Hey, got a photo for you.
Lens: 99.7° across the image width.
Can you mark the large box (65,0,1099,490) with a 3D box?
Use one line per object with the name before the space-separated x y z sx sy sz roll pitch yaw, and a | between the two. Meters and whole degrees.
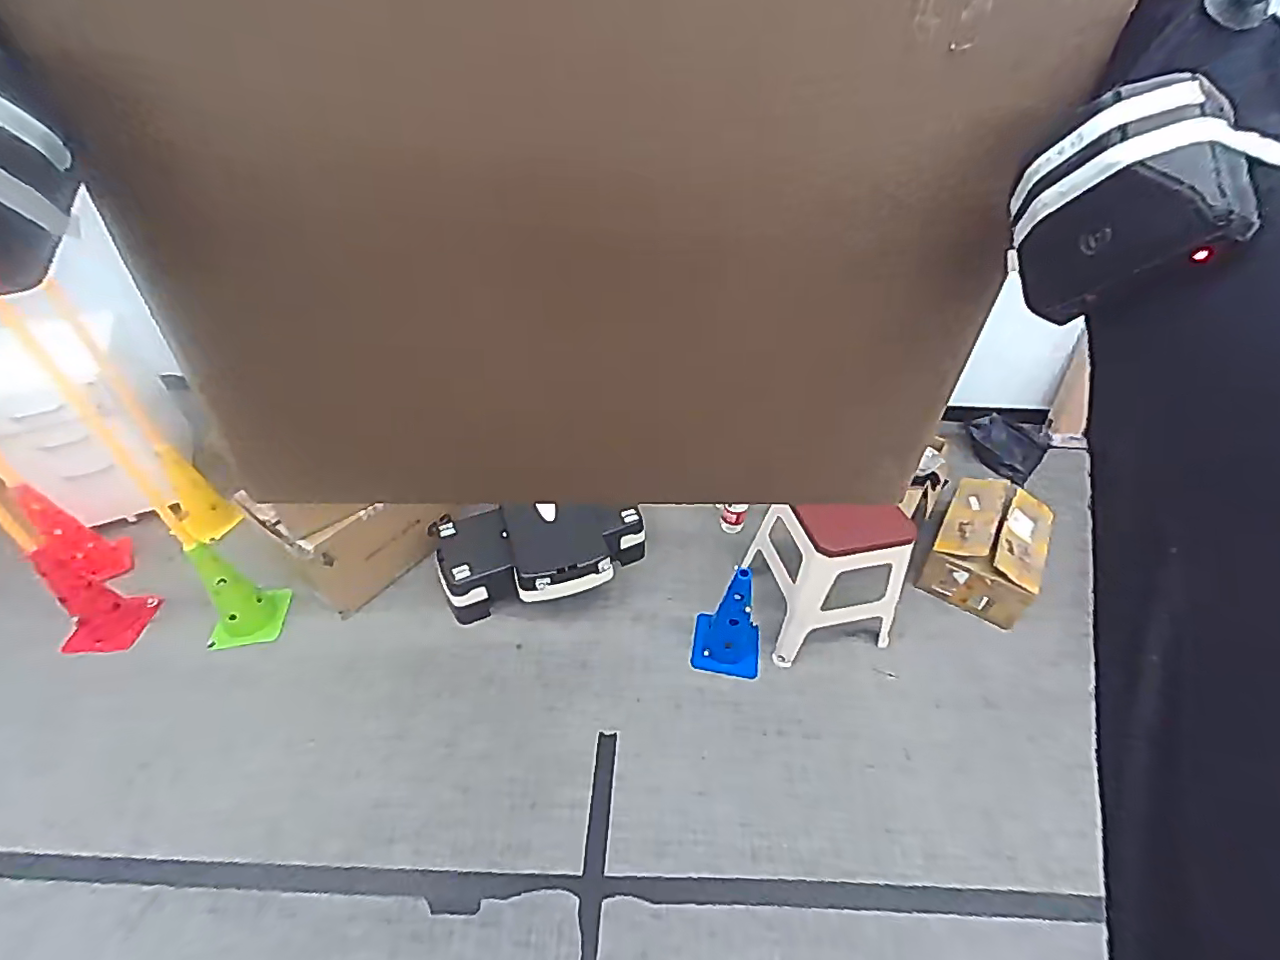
large box | -0.029 -0.202 0.374 0.408 0.320 0.320 1 38 -6
